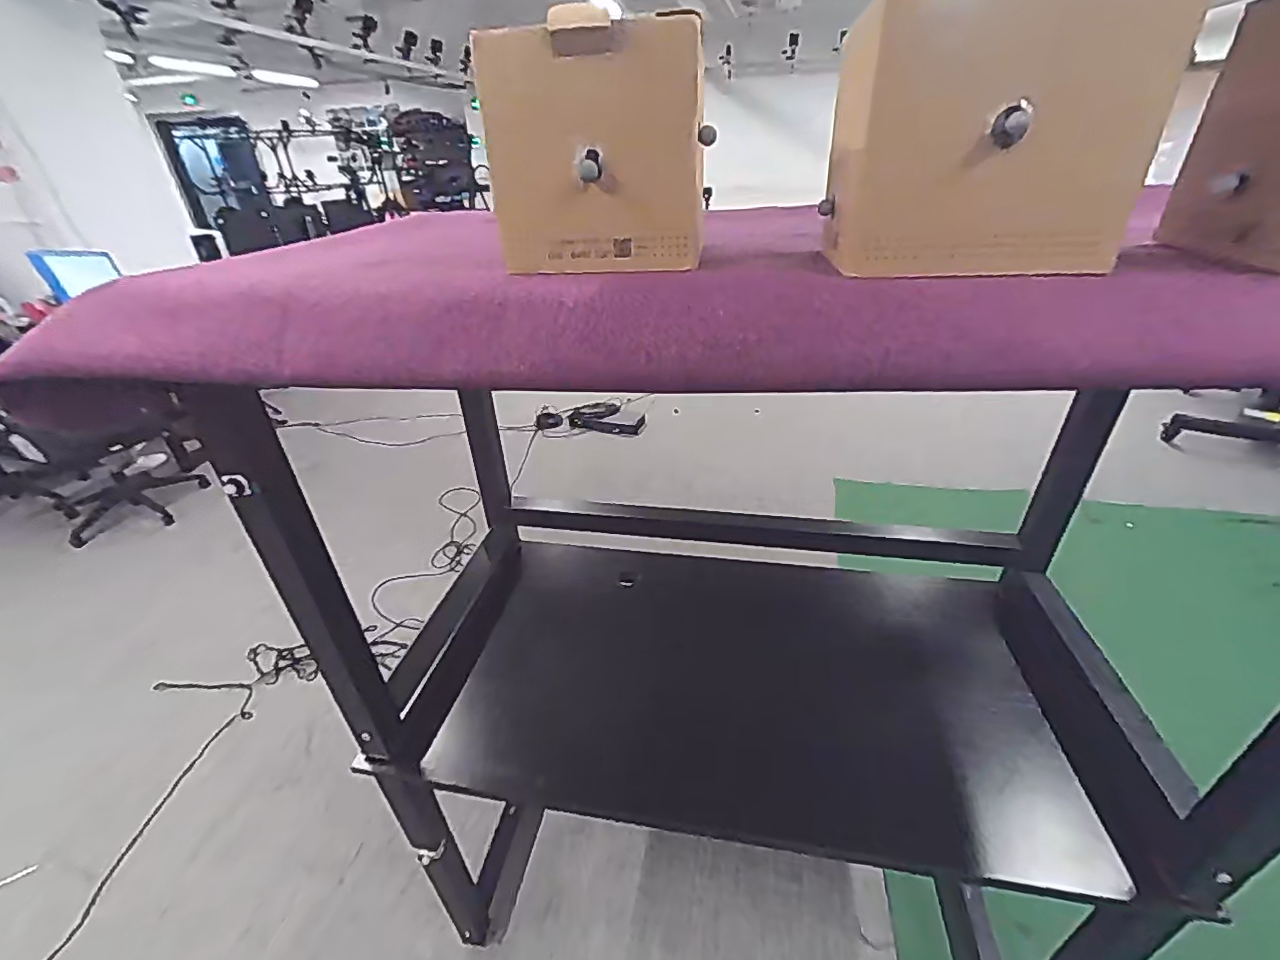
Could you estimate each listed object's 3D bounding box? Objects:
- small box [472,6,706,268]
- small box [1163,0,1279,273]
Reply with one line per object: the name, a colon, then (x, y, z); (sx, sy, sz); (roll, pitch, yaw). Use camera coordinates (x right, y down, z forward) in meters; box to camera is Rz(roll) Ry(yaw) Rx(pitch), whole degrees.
small box: (-0.026, -0.291, 0.485); (0.168, 0.176, 0.179); (2, 31, 7)
small box: (0.520, -0.239, 0.355); (0.179, 0.176, 0.168); (3, 31, 12)
